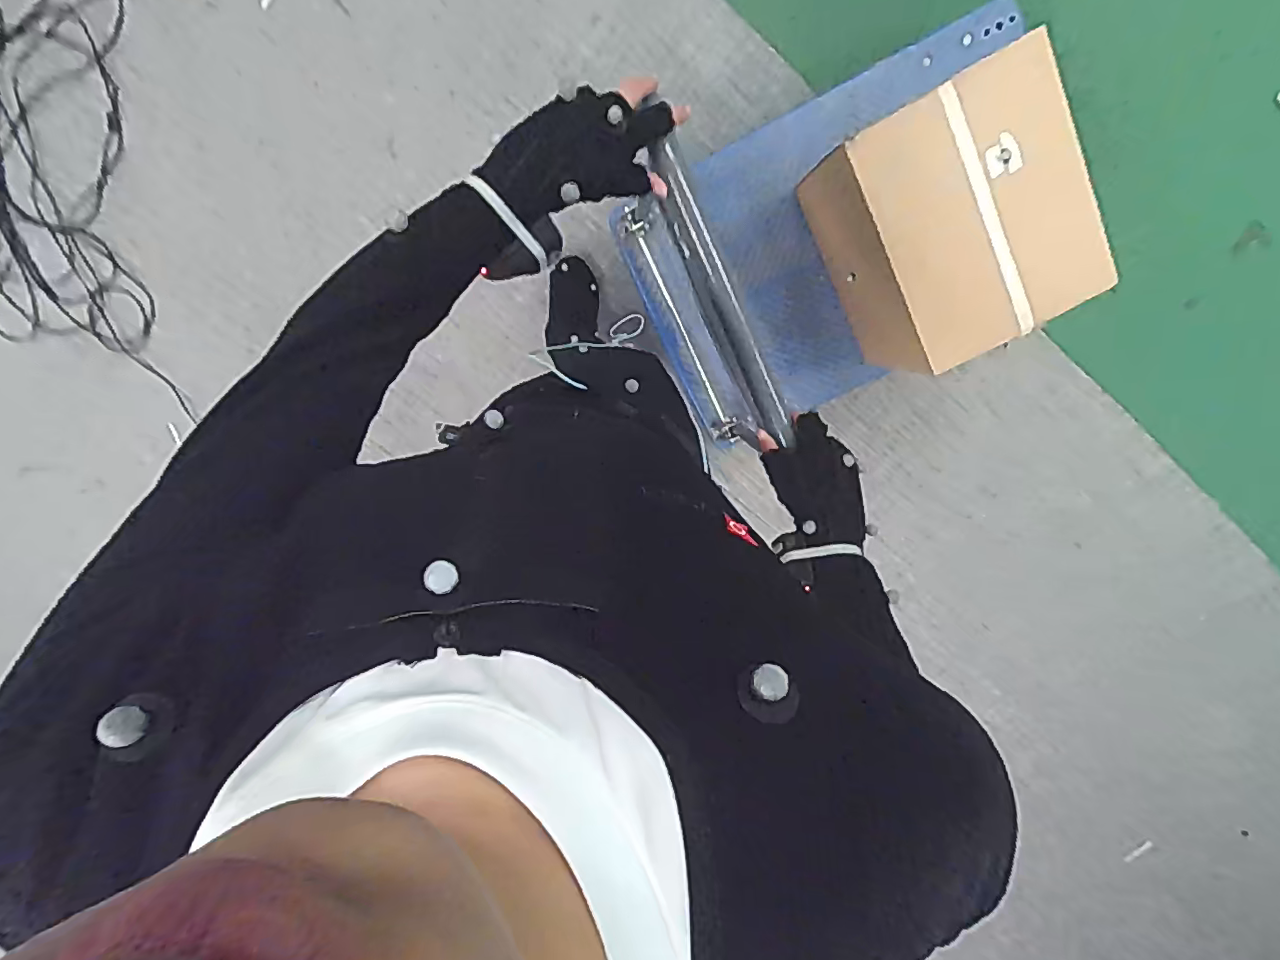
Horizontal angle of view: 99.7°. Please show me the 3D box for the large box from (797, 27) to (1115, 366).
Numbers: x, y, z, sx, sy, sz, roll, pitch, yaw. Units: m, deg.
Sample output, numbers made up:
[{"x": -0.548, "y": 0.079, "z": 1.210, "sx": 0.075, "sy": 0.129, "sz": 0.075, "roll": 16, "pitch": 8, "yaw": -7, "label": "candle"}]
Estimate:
[{"x": 0.544, "y": -0.467, "z": 0.996, "sx": 0.320, "sy": 0.320, "sz": 0.408, "roll": -28, "pitch": 103, "yaw": 8, "label": "large box"}]
